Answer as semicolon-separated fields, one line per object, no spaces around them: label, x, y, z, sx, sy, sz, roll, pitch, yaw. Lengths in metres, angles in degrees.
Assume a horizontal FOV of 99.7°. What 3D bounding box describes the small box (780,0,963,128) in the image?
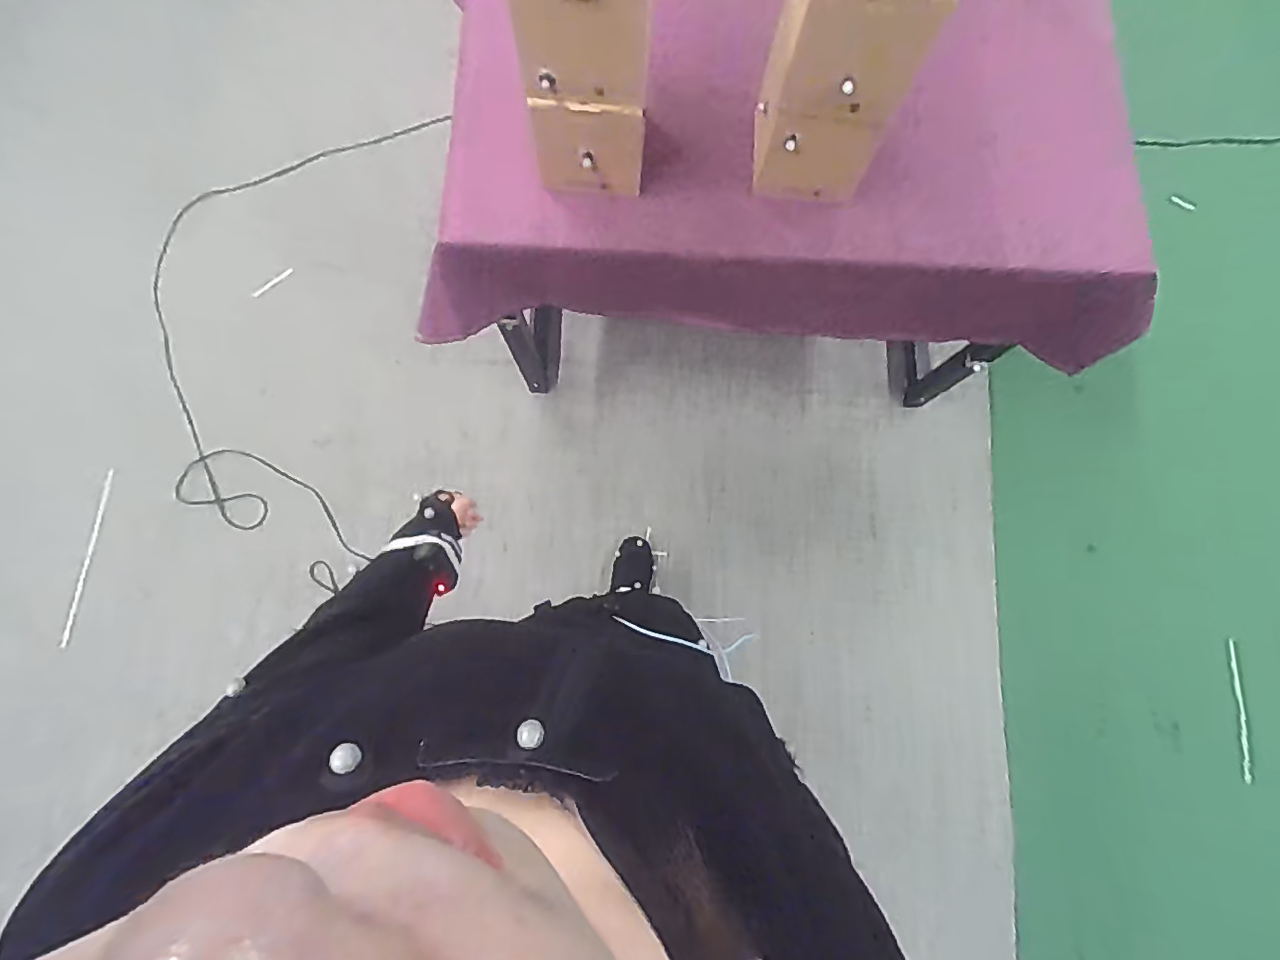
small box;0.288;-0.605;0.699;0.168;0.176;0.179;7;78;0

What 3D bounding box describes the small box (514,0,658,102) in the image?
small box;-0.061;-0.628;0.690;0.168;0.176;0.179;6;78;-1

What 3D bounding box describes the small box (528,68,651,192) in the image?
small box;-0.071;-0.589;0.850;0.168;0.176;0.179;6;79;-2
